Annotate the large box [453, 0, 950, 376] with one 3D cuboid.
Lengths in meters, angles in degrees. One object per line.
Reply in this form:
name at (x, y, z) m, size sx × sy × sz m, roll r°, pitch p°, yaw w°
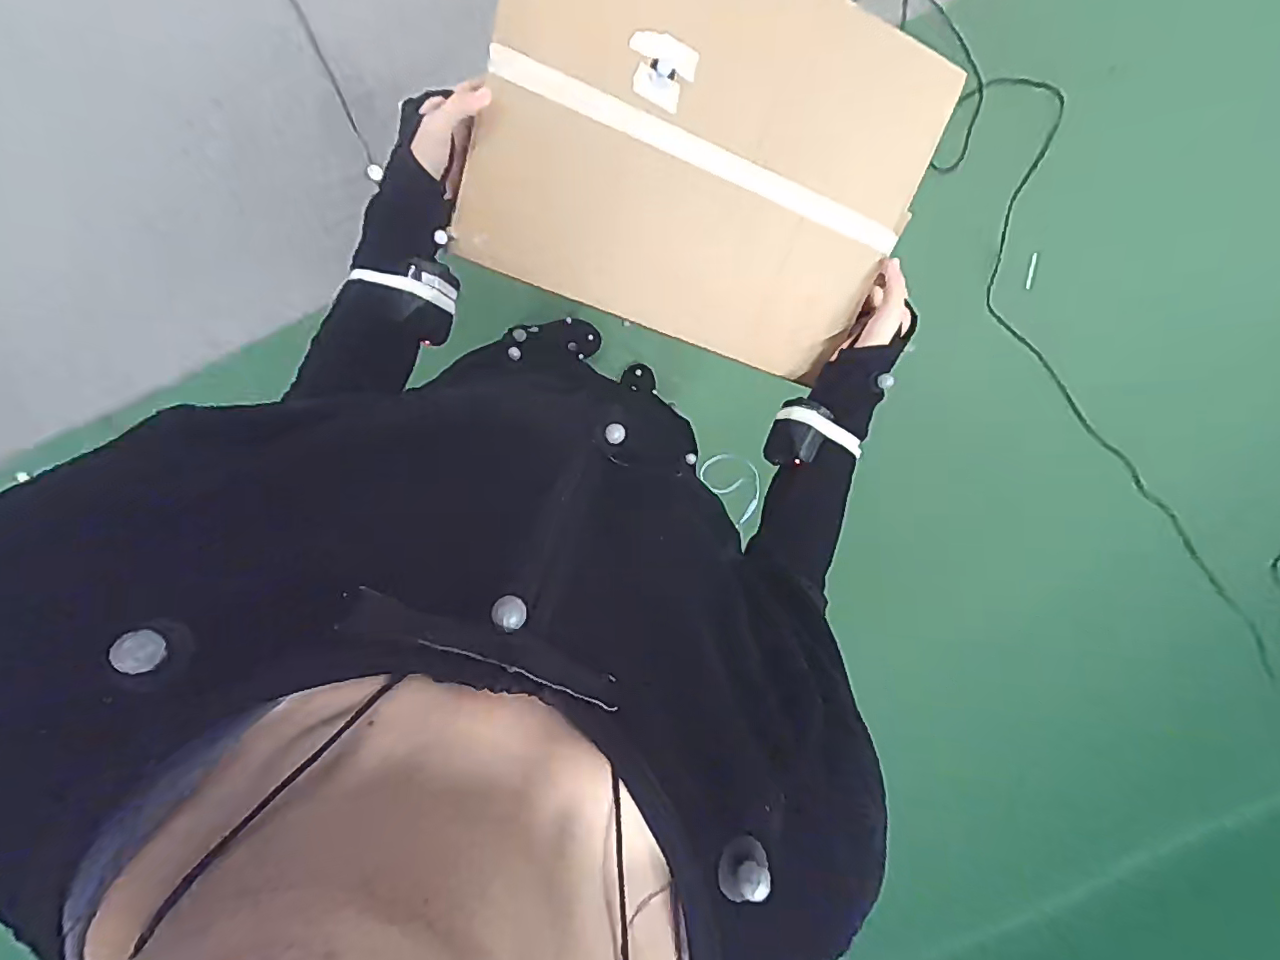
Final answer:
large box at (0.040, -0.356, 0.643) m, size 0.408 × 0.320 × 0.320 m, roll 16°, pitch 109°, yaw -14°
